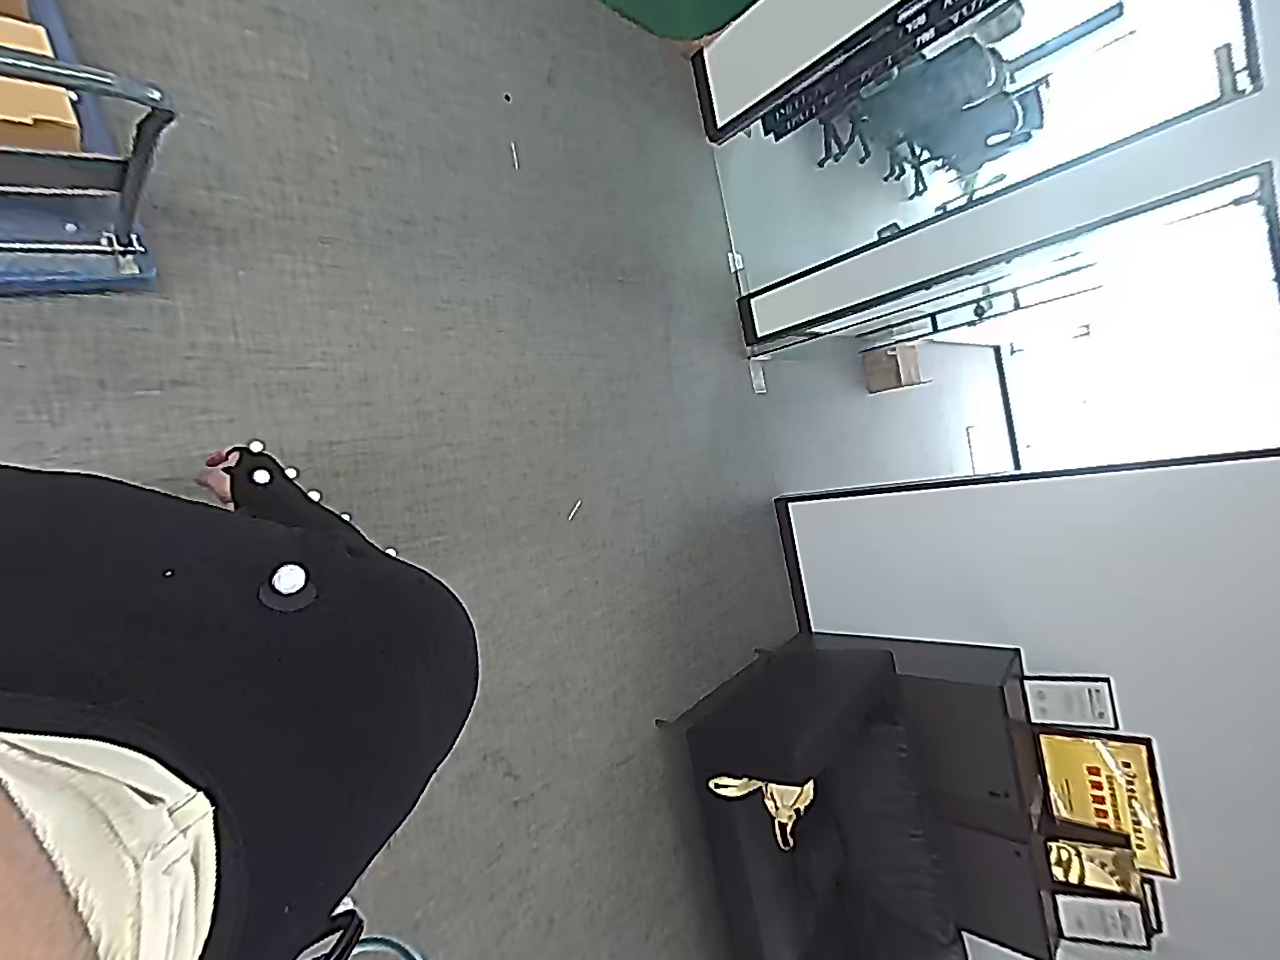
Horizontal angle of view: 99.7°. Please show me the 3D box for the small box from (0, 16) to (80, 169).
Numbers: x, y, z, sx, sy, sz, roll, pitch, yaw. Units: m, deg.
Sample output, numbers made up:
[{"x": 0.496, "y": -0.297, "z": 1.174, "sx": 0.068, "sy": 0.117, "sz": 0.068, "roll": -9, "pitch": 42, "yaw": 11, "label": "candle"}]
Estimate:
[{"x": -1.162, "y": -0.705, "z": 0.981, "sx": 0.168, "sy": 0.176, "sz": 0.179, "roll": -21, "pitch": 100, "yaw": -45, "label": "small box"}]
